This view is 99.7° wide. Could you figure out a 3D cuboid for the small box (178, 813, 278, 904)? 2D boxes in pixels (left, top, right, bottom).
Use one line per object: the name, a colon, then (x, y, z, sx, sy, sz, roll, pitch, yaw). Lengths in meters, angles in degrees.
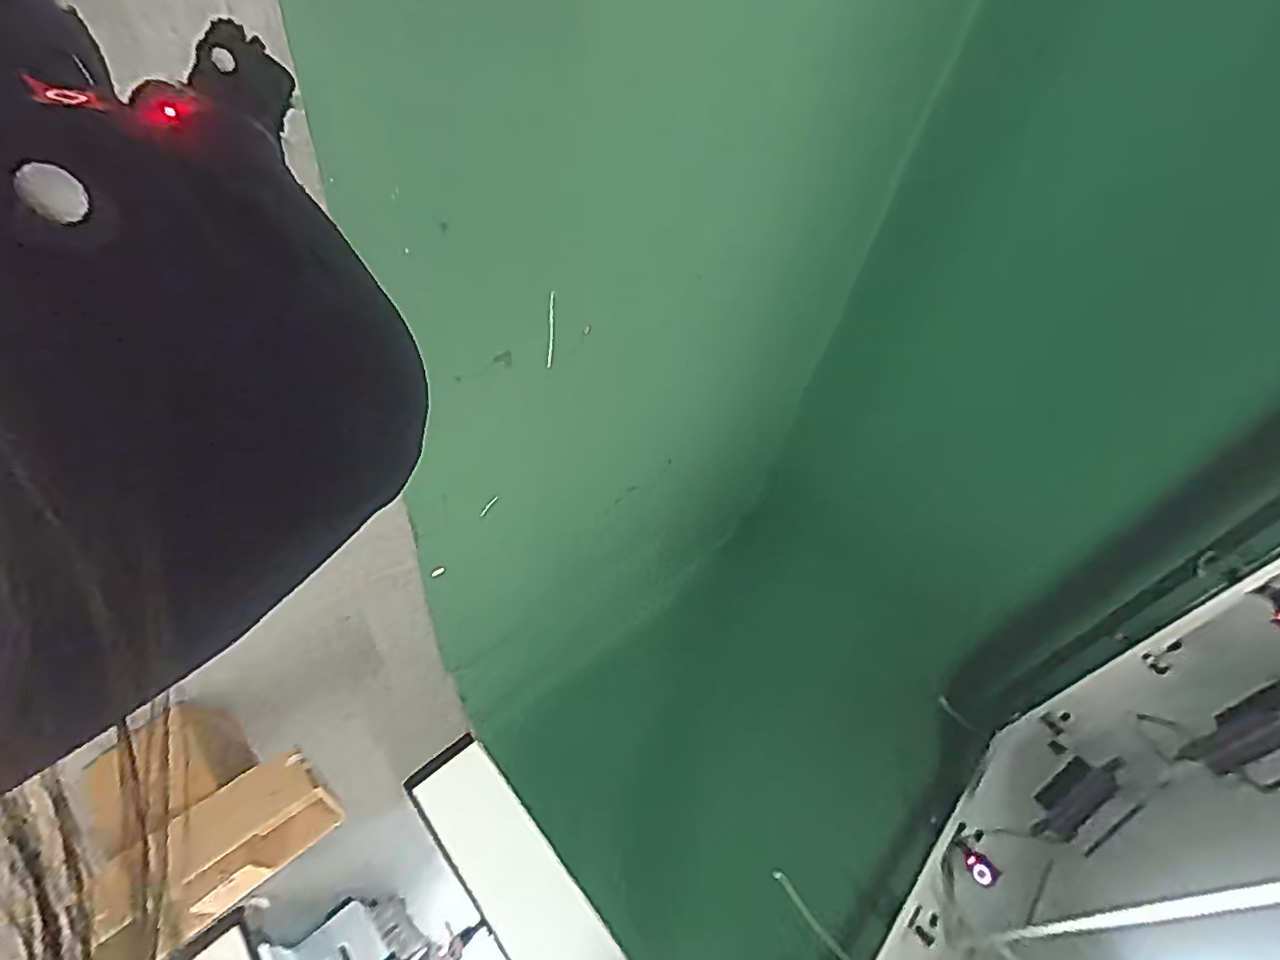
small box: (-1.292, 1.185, 1.700, 0.168, 0.176, 0.179, -36, 152, -28)
